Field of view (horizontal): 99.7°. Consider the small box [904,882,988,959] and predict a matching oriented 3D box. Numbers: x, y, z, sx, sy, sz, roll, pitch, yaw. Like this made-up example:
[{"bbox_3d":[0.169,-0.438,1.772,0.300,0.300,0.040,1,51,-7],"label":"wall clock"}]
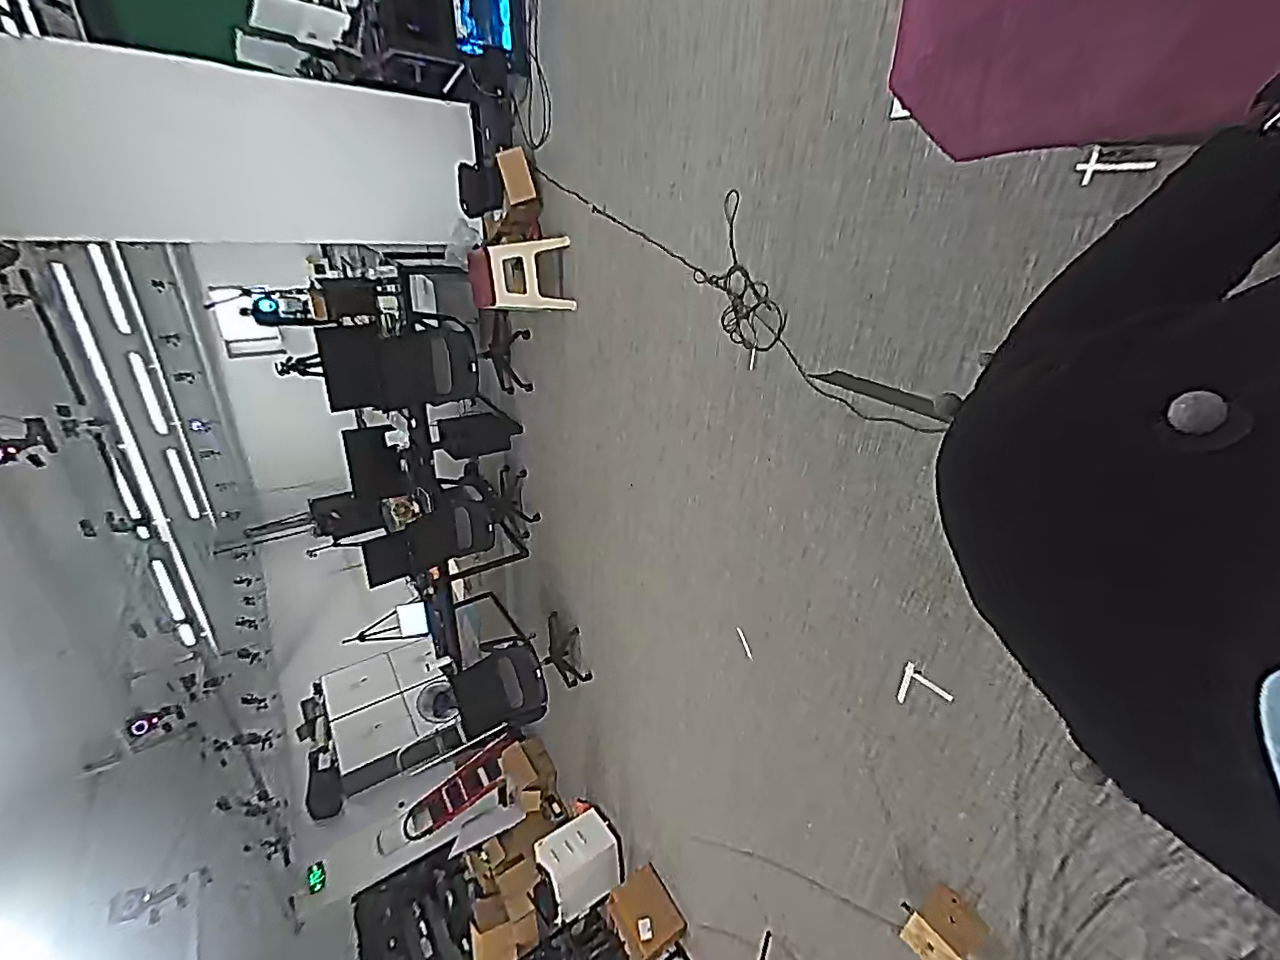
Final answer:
[{"bbox_3d":[1.038,1.518,1.830,0.168,0.176,0.179,38,134,45],"label":"small box"}]
